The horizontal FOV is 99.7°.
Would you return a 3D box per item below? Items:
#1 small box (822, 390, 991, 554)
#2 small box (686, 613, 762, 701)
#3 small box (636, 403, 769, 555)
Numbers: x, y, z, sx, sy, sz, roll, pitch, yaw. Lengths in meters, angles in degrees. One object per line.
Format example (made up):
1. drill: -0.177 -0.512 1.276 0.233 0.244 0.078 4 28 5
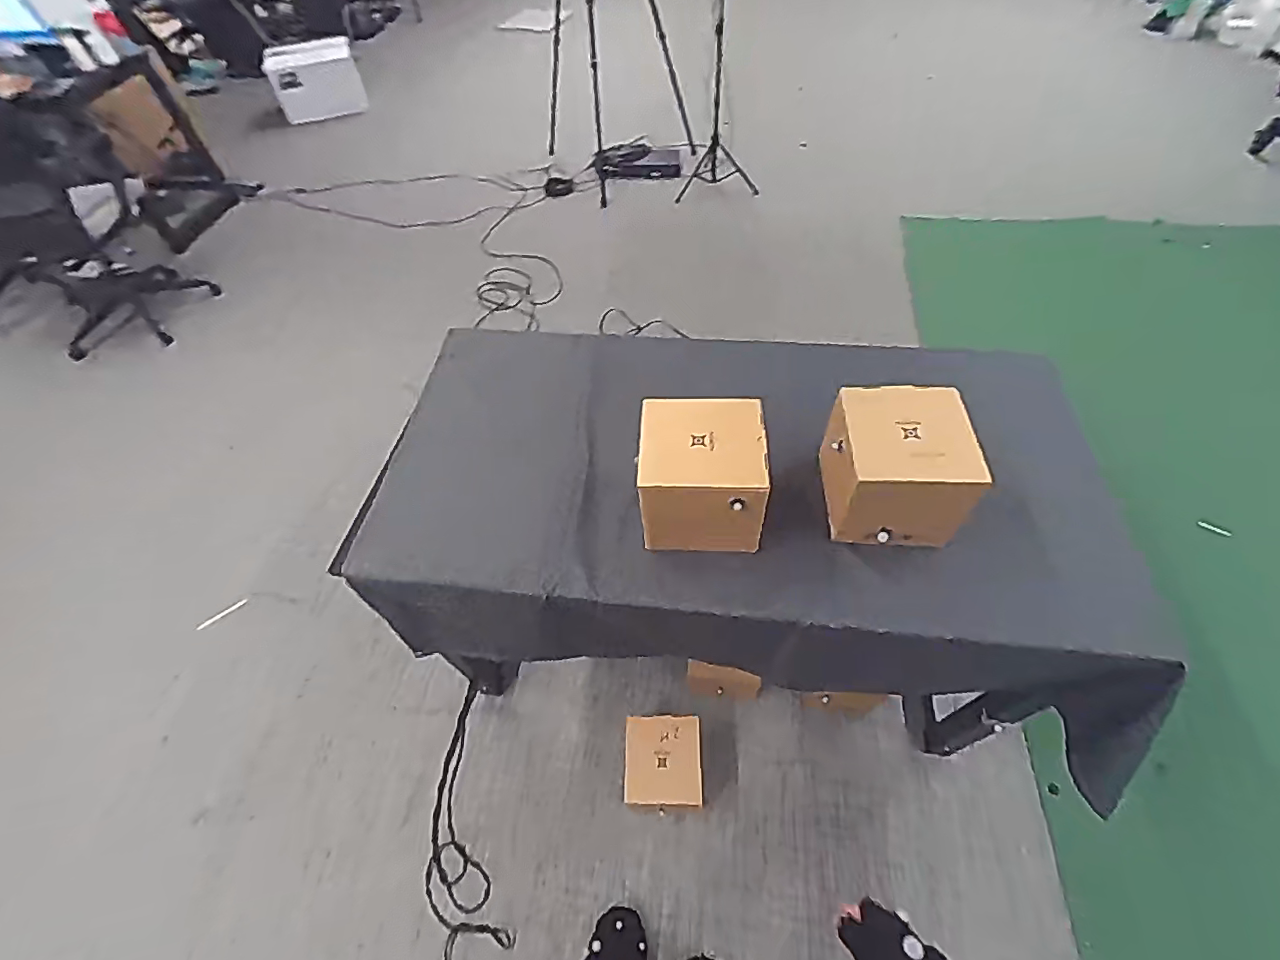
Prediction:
1. small box: 0.373 -0.011 0.797 0.168 0.176 0.179 2 54 7
2. small box: 0.210 0.452 1.371 0.179 0.176 0.168 2 54 7
3. small box: 0.090 0.001 0.811 0.179 0.176 0.168 1 53 4
